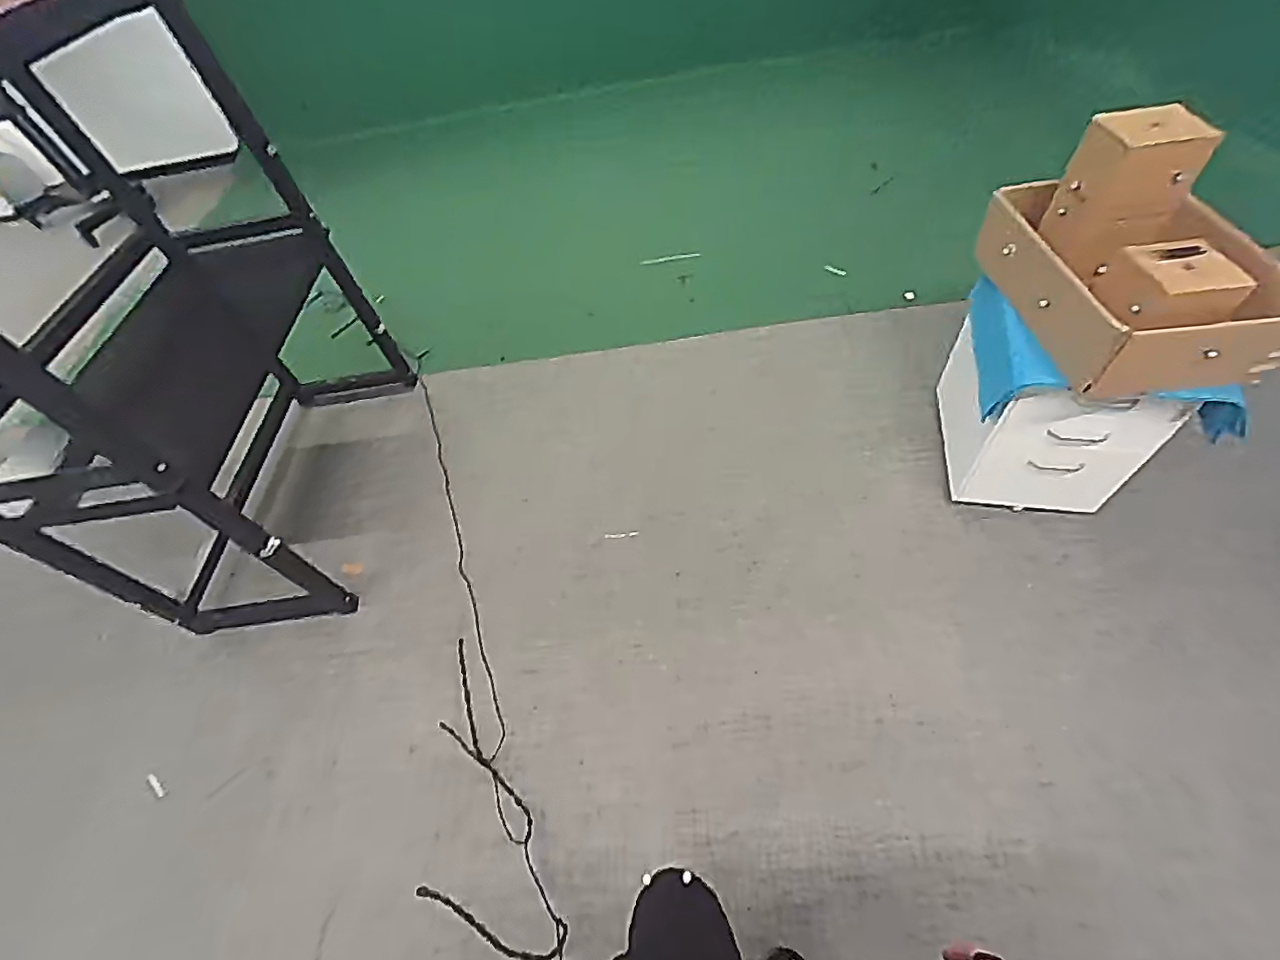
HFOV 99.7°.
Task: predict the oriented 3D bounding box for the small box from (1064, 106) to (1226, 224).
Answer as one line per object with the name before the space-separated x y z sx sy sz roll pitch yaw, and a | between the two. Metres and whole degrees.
small box | 1.118 -0.704 1.216 0.179 0.176 0.168 -5 53 5
